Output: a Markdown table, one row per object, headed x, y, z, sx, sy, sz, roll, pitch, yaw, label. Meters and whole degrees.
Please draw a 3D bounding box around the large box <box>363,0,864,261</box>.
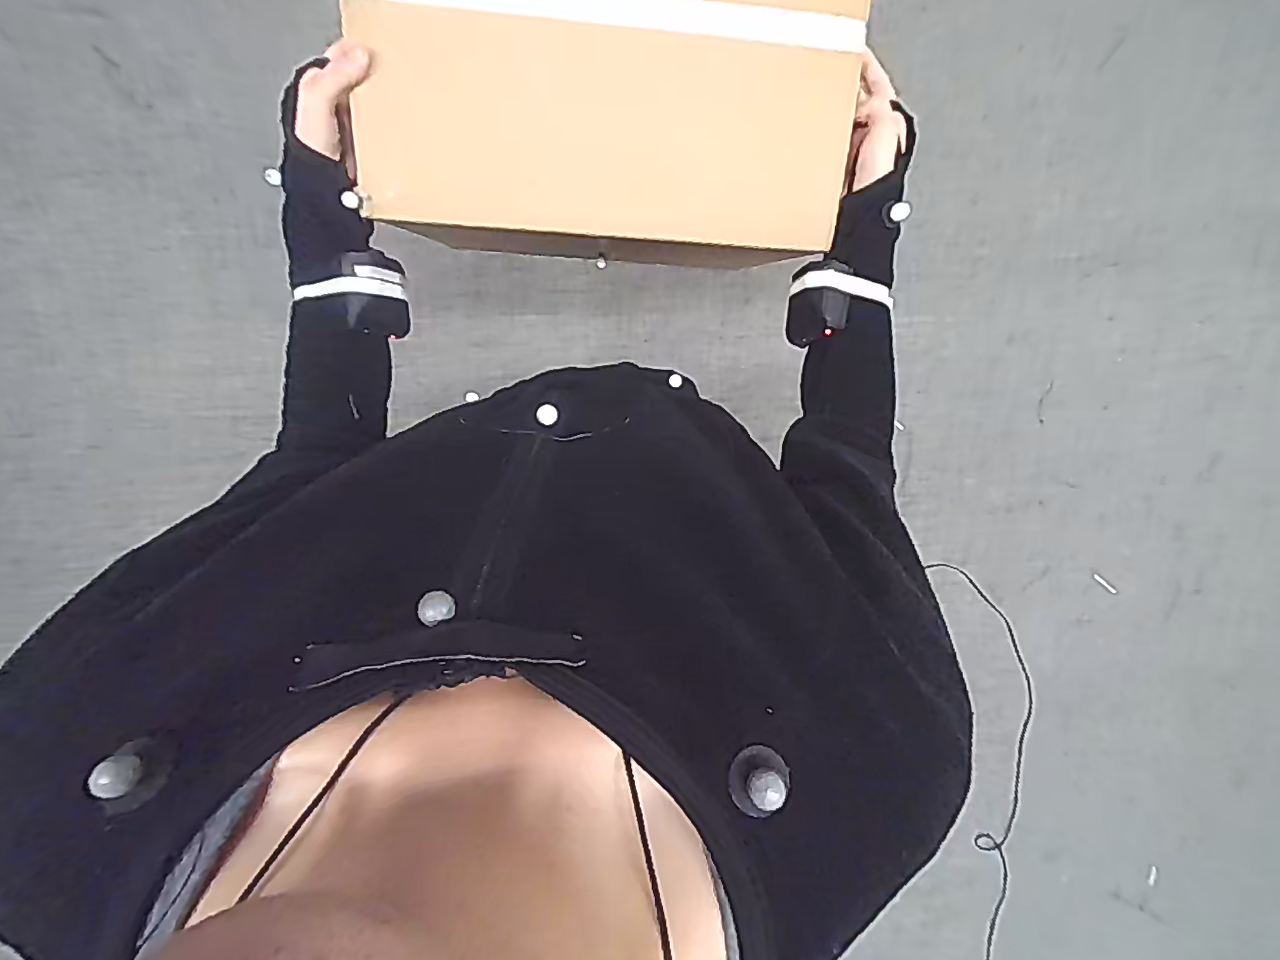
| x | y | z | sx | sy | sz | roll | pitch | yaw | label |
| --- | --- | --- | --- | --- | --- | --- | --- | --- | --- |
| -0.027 | -0.411 | 0.573 | 0.408 | 0.320 | 0.320 | 2 | 108 | -6 | large box |
